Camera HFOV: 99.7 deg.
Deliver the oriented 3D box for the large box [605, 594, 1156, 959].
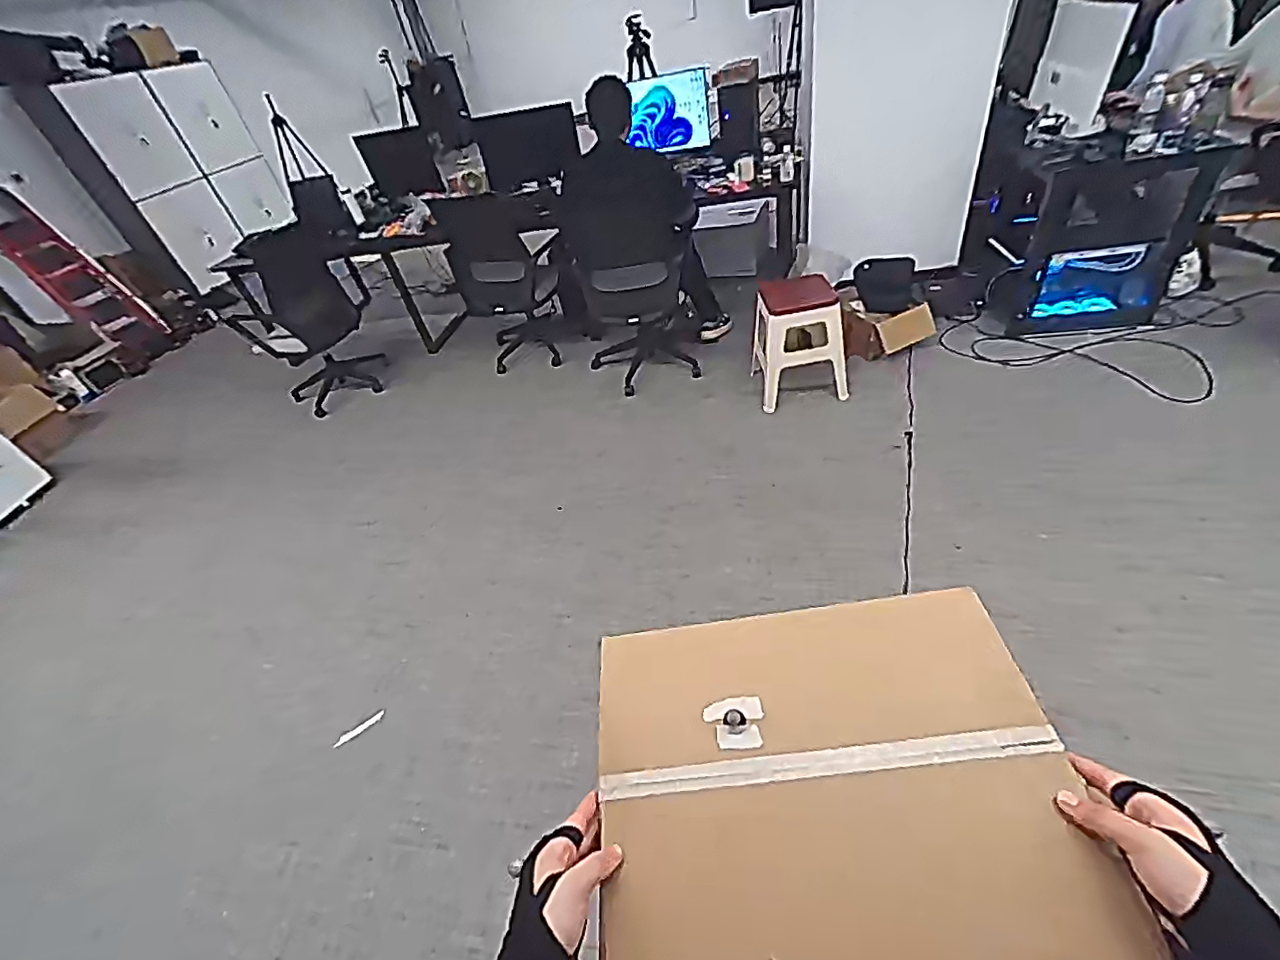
[{"bbox_3d":[0.194,0.368,0.604,0.408,0.320,0.320,-11,44,7],"label":"large box"}]
